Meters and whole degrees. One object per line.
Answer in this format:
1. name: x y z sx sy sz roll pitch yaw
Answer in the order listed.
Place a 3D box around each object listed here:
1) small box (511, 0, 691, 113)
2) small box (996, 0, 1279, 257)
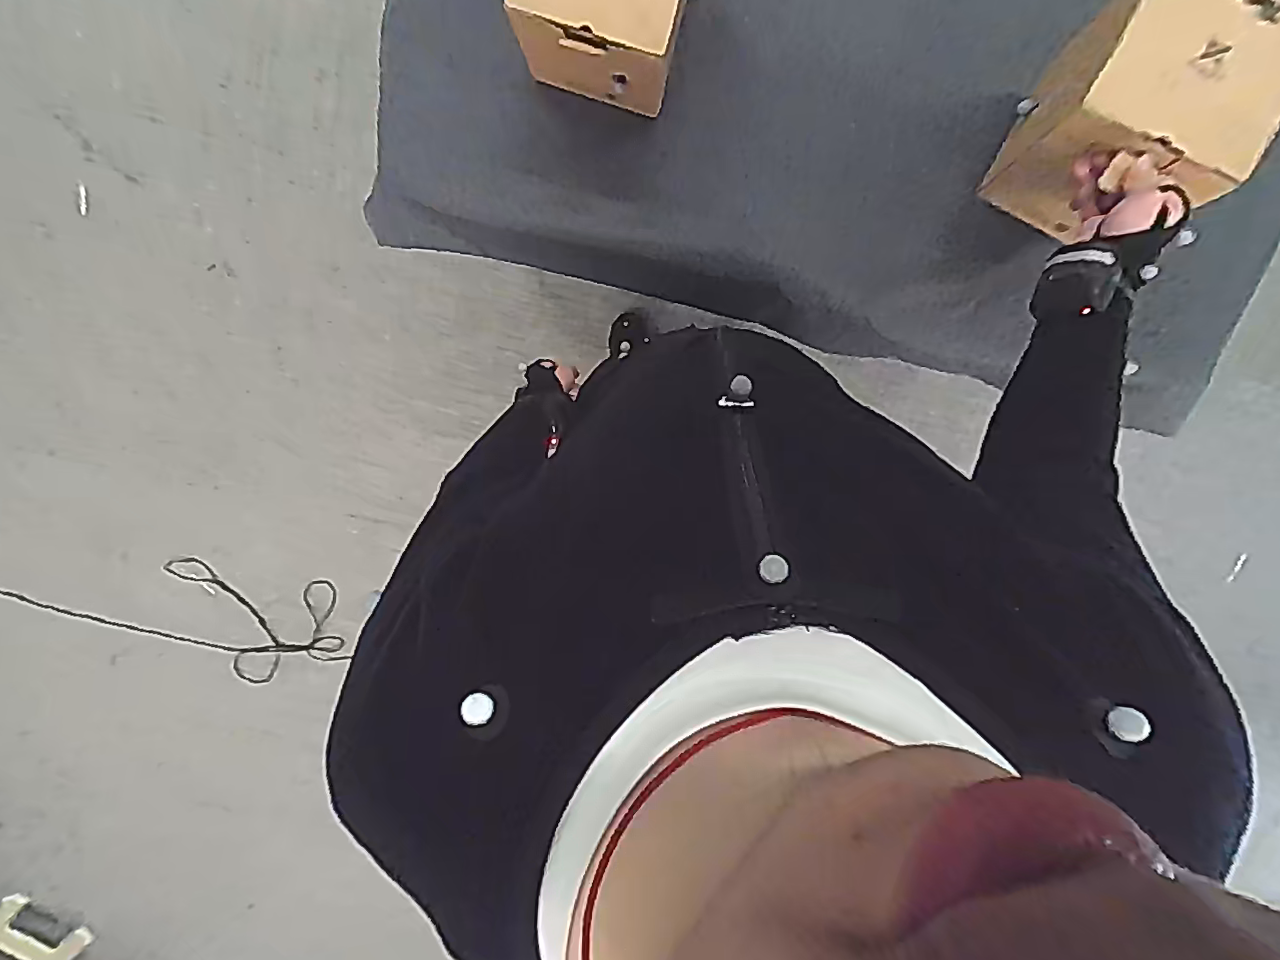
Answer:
1. small box: -0.028 -0.544 0.593 0.168 0.176 0.179 15 104 -6
2. small box: 0.528 -0.375 0.576 0.168 0.176 0.179 32 91 0
